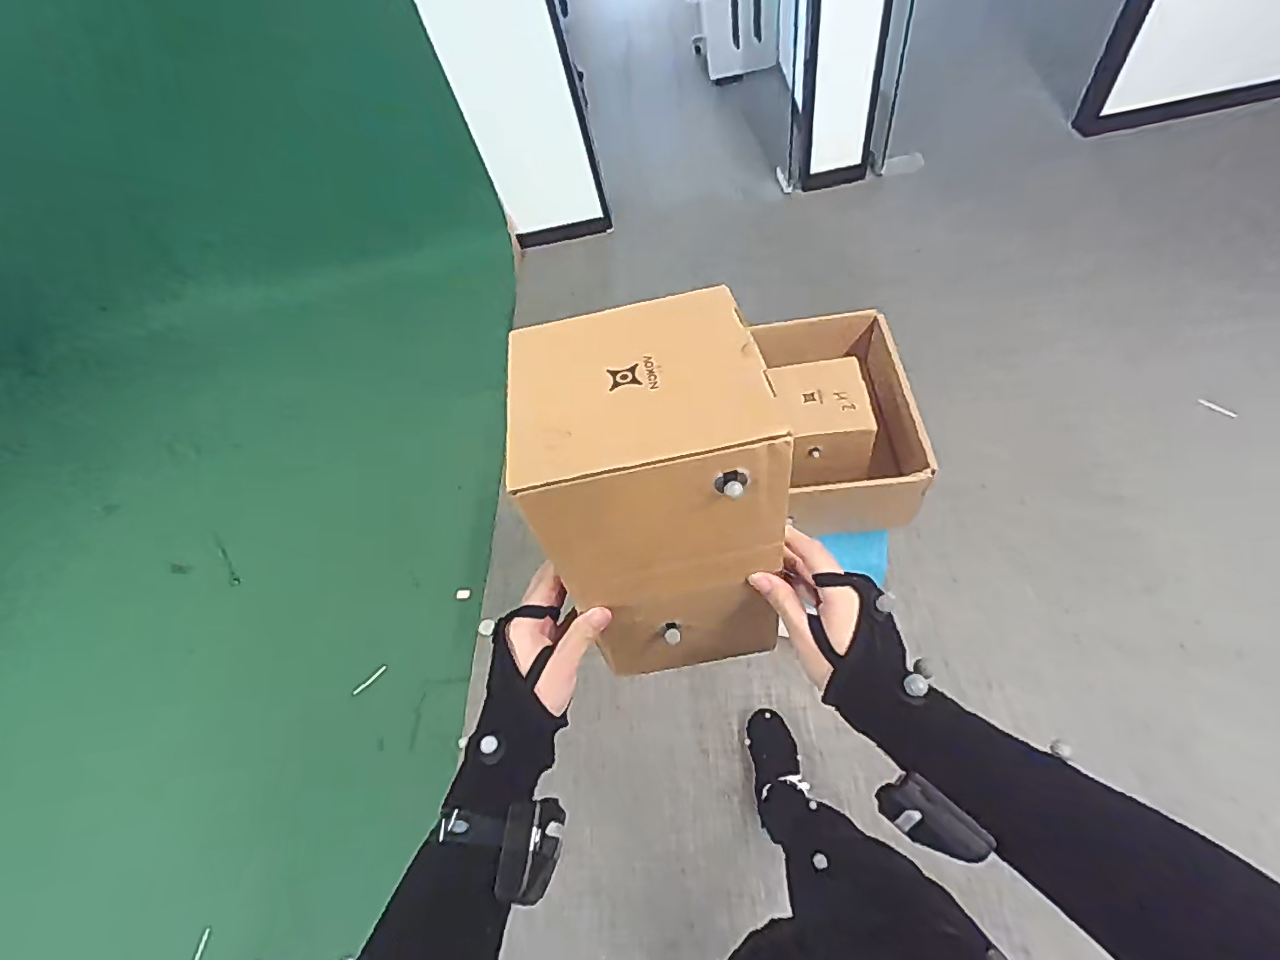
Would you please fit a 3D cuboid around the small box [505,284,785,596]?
[{"bbox_3d":[0.005,-0.024,0.434,0.179,0.176,0.168,-11,51,1],"label":"small box"}]

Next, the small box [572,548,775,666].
[{"bbox_3d":[0.034,0.075,0.559,0.179,0.176,0.168,-11,50,3],"label":"small box"}]
